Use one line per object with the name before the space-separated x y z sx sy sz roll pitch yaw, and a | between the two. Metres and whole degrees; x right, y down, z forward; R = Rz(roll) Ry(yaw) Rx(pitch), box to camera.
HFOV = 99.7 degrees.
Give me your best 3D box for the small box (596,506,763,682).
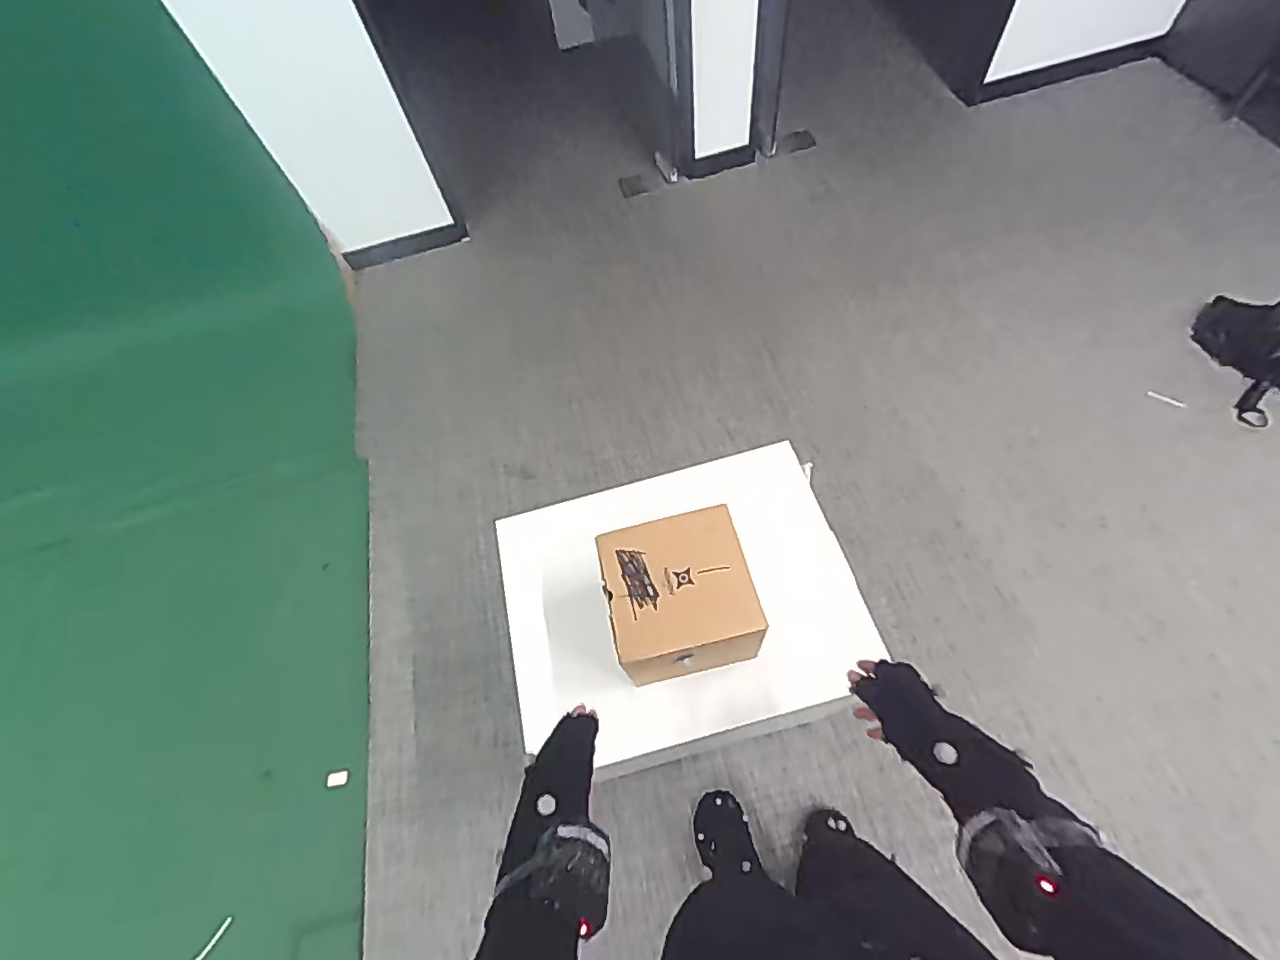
small box | 0.052 0.159 0.724 0.179 0.176 0.168 -13 60 -1
